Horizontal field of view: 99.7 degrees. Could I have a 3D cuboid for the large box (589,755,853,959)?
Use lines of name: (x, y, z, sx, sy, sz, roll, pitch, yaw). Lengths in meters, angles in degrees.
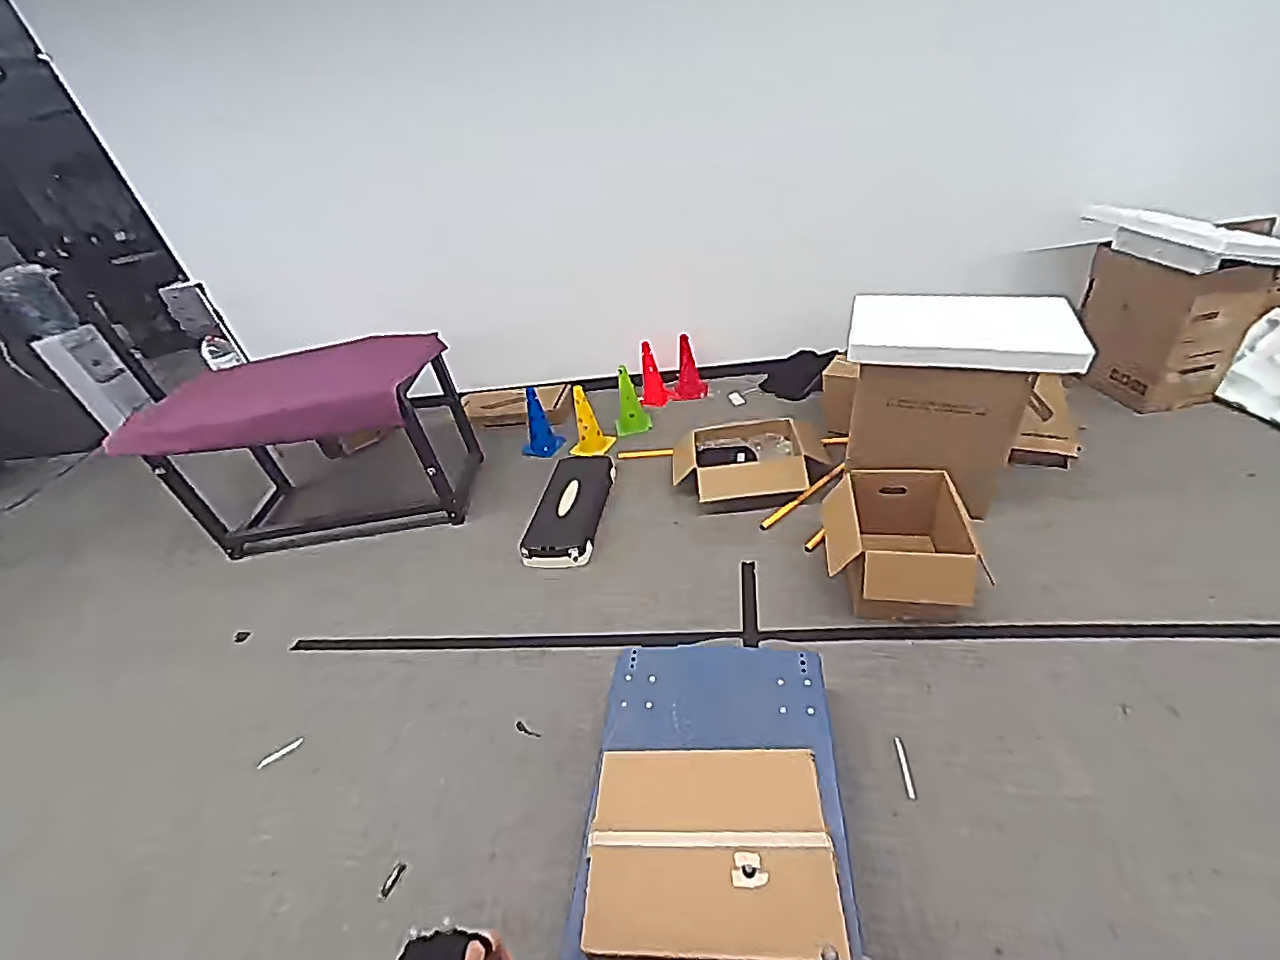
large box: (0.141, 0.747, 1.010, 0.408, 0.320, 0.320, -4, 36, 7)
